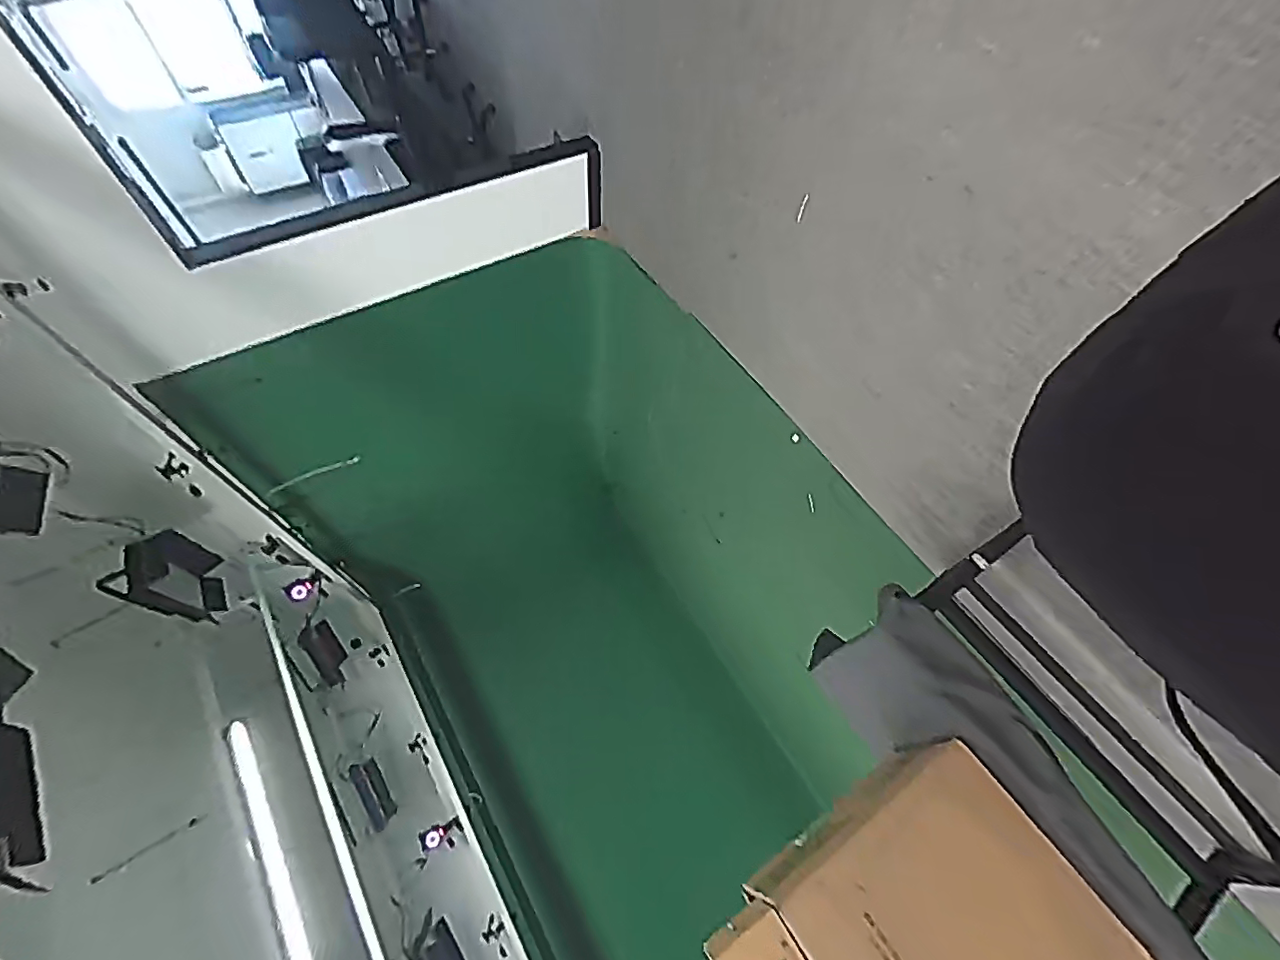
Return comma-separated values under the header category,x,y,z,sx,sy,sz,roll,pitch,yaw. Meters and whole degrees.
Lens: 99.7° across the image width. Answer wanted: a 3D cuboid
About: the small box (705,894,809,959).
category,x,y,z,sx,sy,sz,roll,pitch,yaw
small box,0.268,1.071,1.211,0.168,0.176,0.179,53,159,26
